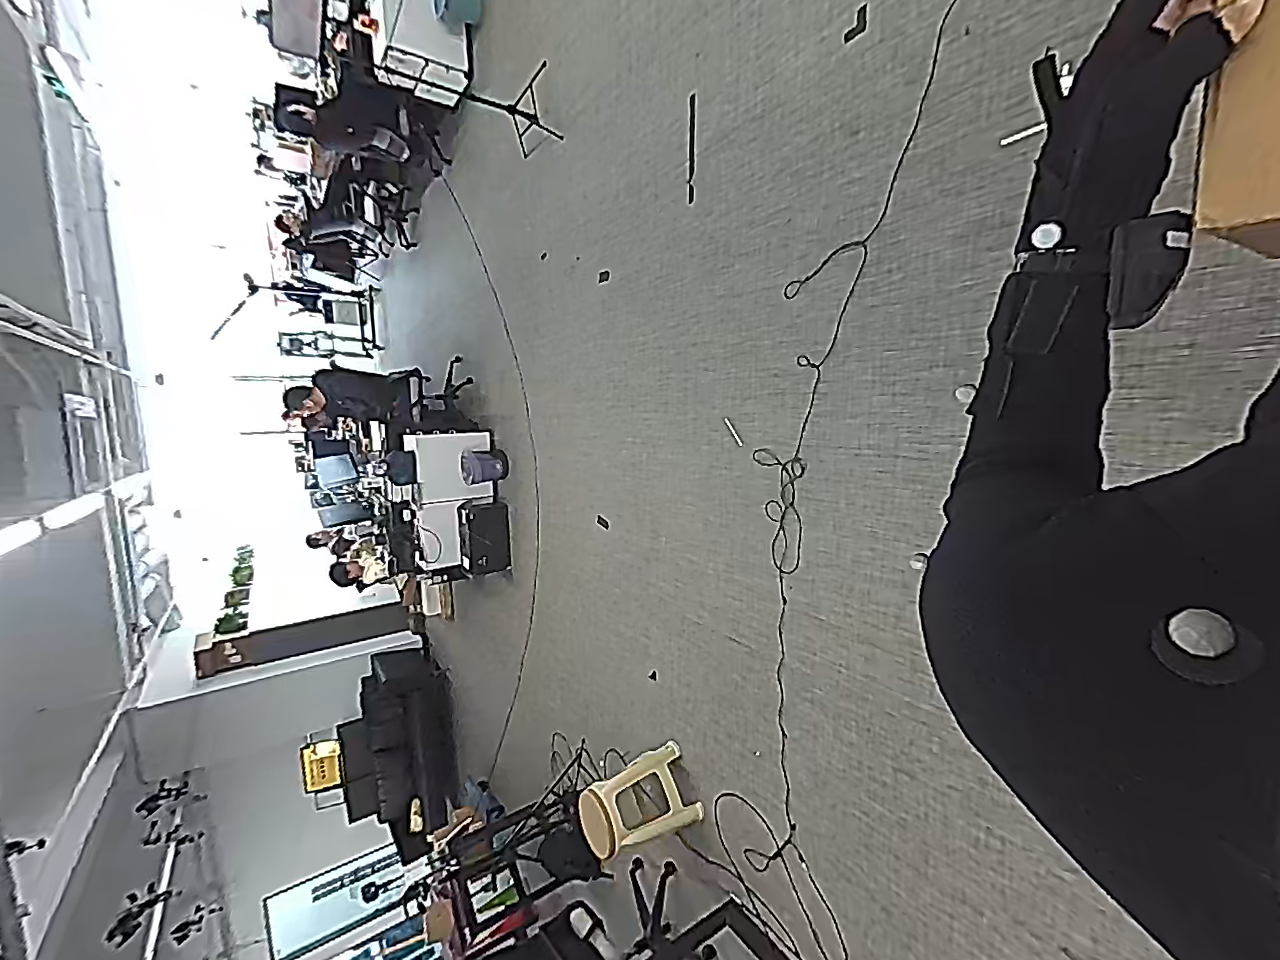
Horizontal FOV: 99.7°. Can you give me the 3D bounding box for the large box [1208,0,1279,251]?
[{"bbox_3d":[0.553,-0.311,0.221,0.408,0.320,0.320,9,109,52],"label":"large box"}]
